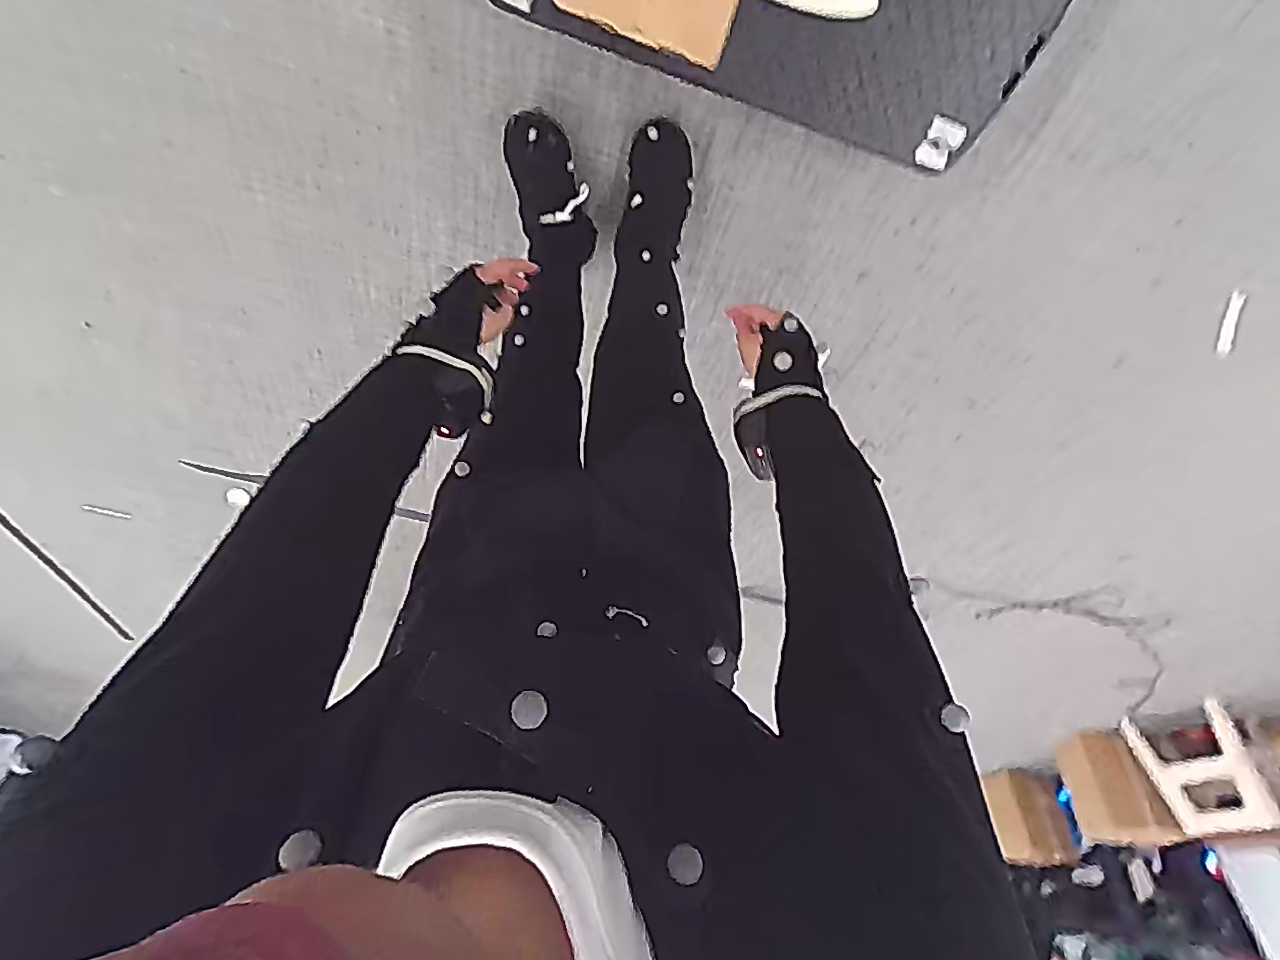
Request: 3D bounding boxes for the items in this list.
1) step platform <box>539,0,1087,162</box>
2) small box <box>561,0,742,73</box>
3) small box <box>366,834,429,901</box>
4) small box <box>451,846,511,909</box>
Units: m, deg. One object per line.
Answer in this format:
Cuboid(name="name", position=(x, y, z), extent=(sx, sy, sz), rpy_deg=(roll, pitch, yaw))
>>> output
Cuboid(name="step platform", position=(0.180, -0.646, 0.641), extent=(0.684, 0.204, 0.286), rpy_deg=(15, 137, -9))
Cuboid(name="small box", position=(0.032, -0.540, 0.517), extent=(0.168, 0.176, 0.179), rpy_deg=(16, 137, -9))
Cuboid(name="small box", position=(-0.880, 1.413, 1.969), extent=(0.168, 0.176, 0.179), rpy_deg=(17, 136, -12))
Cuboid(name="small box", position=(-0.584, 1.470, 2.000), extent=(0.179, 0.176, 0.168), rpy_deg=(15, 137, -9))
